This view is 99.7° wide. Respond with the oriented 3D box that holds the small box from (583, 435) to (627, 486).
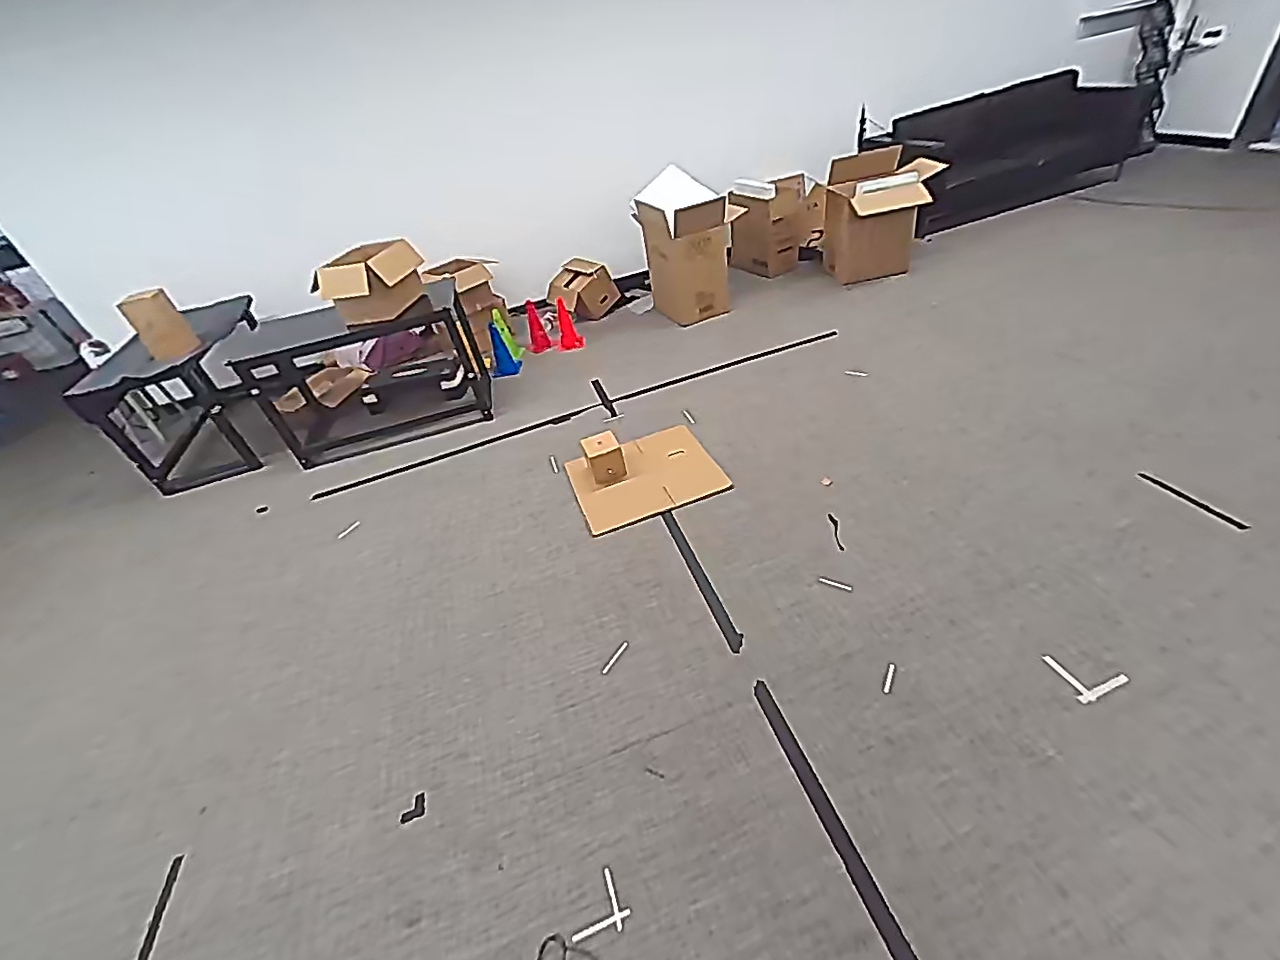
[{"bbox_3d":[-0.177,-0.096,2.719,0.168,0.176,0.179,-20,39,-9],"label":"small box"}]
